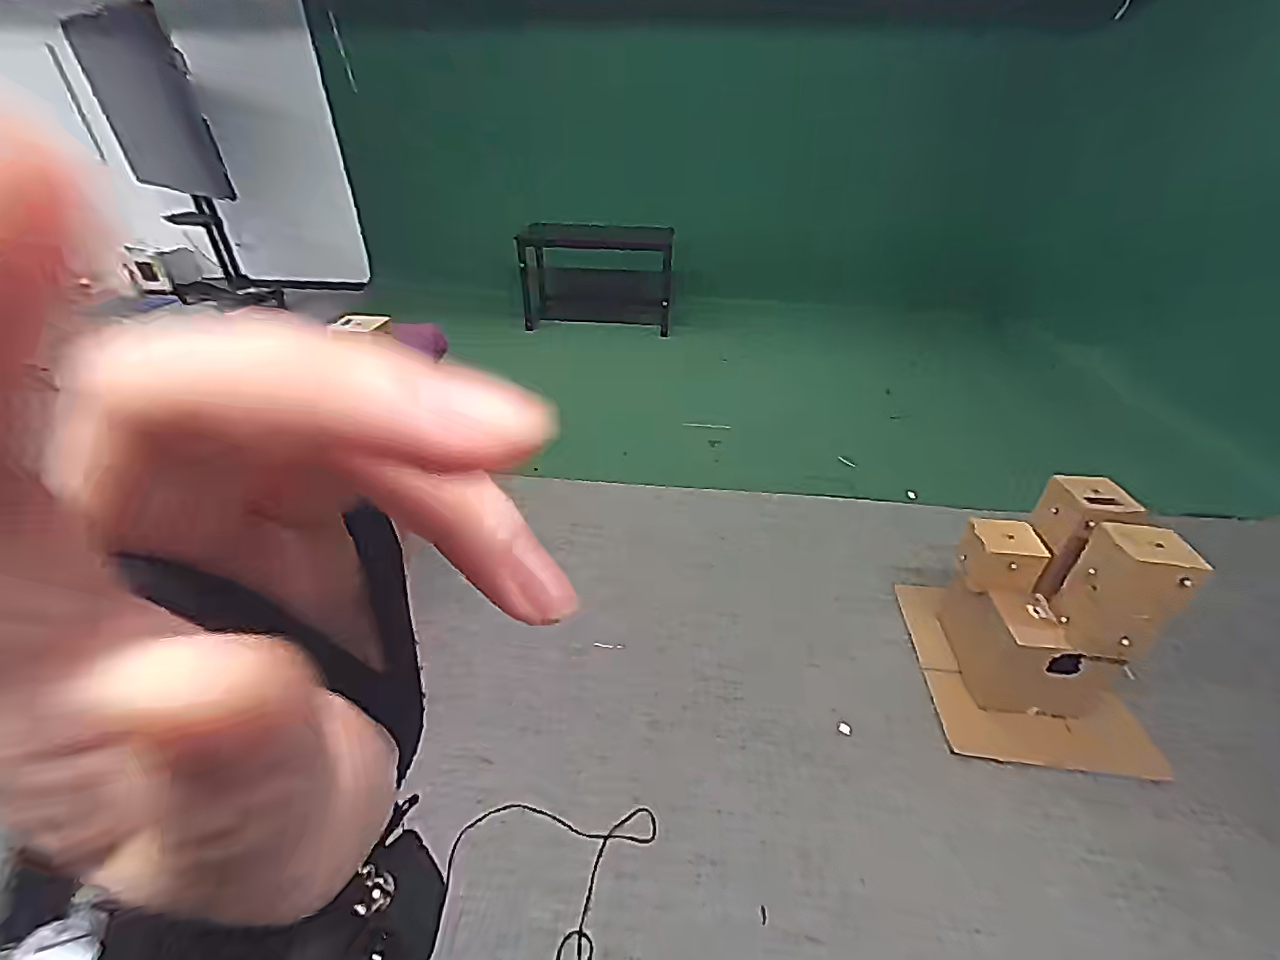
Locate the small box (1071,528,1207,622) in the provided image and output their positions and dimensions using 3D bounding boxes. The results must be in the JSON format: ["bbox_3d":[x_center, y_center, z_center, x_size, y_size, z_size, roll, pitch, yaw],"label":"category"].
[{"bbox_3d":[1.292,0.249,1.416,0.179,0.176,0.168,7,32,8],"label":"small box"}]

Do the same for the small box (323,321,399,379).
[{"bbox_3d":[-1.038,-0.488,2.024,0.179,0.176,0.168,4,34,5],"label":"small box"}]

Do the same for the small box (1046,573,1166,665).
[{"bbox_3d":[1.286,0.389,1.507,0.168,0.176,0.179,6,32,8],"label":"small box"}]
